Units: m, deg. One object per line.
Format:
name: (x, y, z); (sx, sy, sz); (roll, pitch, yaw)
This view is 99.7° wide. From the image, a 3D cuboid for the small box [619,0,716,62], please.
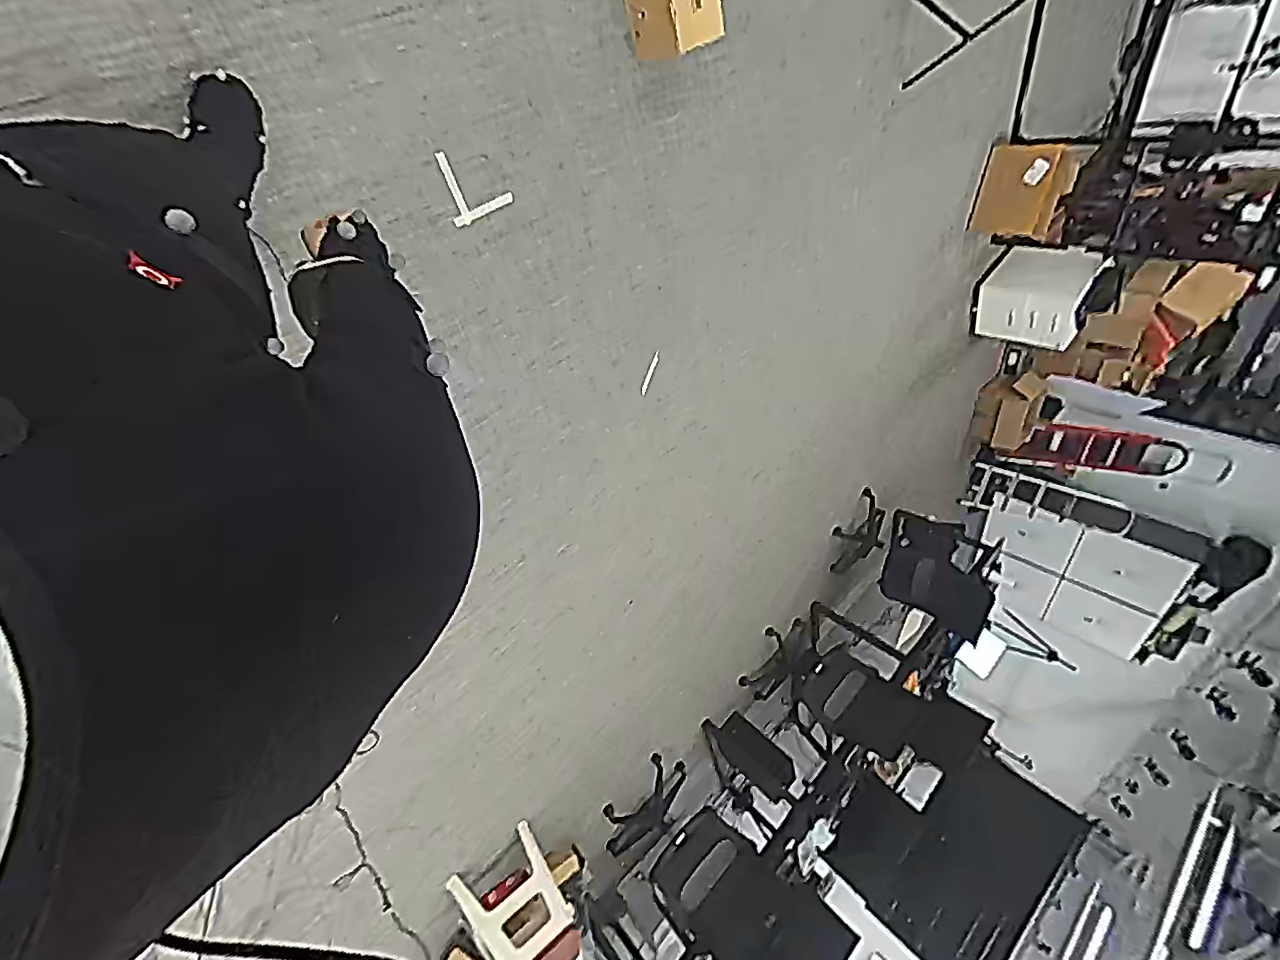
small box: (0.071, -1.215, 1.405); (0.179, 0.176, 0.168); (-40, 136, -22)
